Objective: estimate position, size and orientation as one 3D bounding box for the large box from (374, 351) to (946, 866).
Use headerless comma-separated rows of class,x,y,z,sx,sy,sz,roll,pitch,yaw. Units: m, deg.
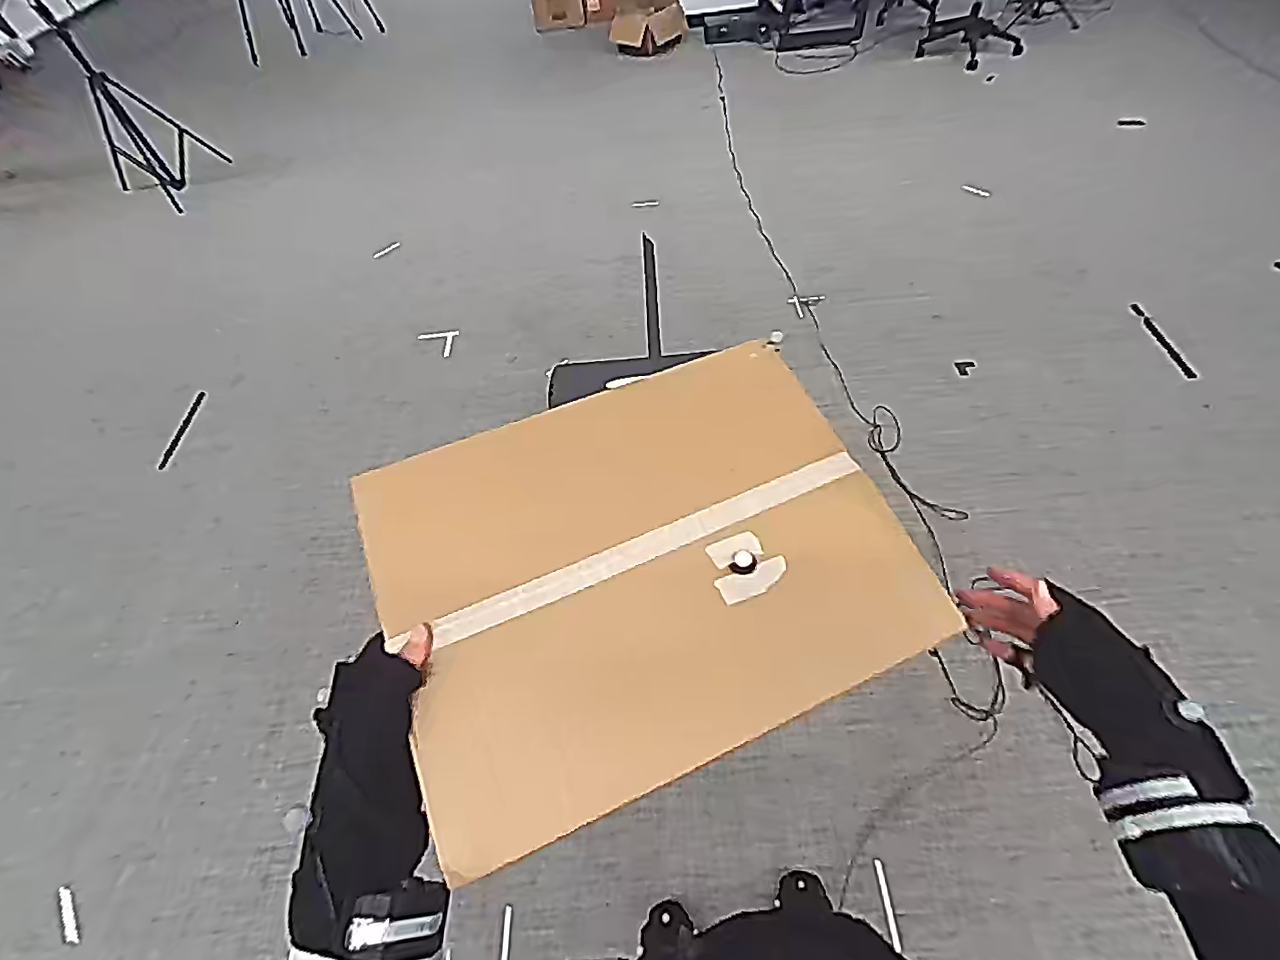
large box,0.002,0.130,0.582,0.408,0.320,0.320,-21,65,-11
